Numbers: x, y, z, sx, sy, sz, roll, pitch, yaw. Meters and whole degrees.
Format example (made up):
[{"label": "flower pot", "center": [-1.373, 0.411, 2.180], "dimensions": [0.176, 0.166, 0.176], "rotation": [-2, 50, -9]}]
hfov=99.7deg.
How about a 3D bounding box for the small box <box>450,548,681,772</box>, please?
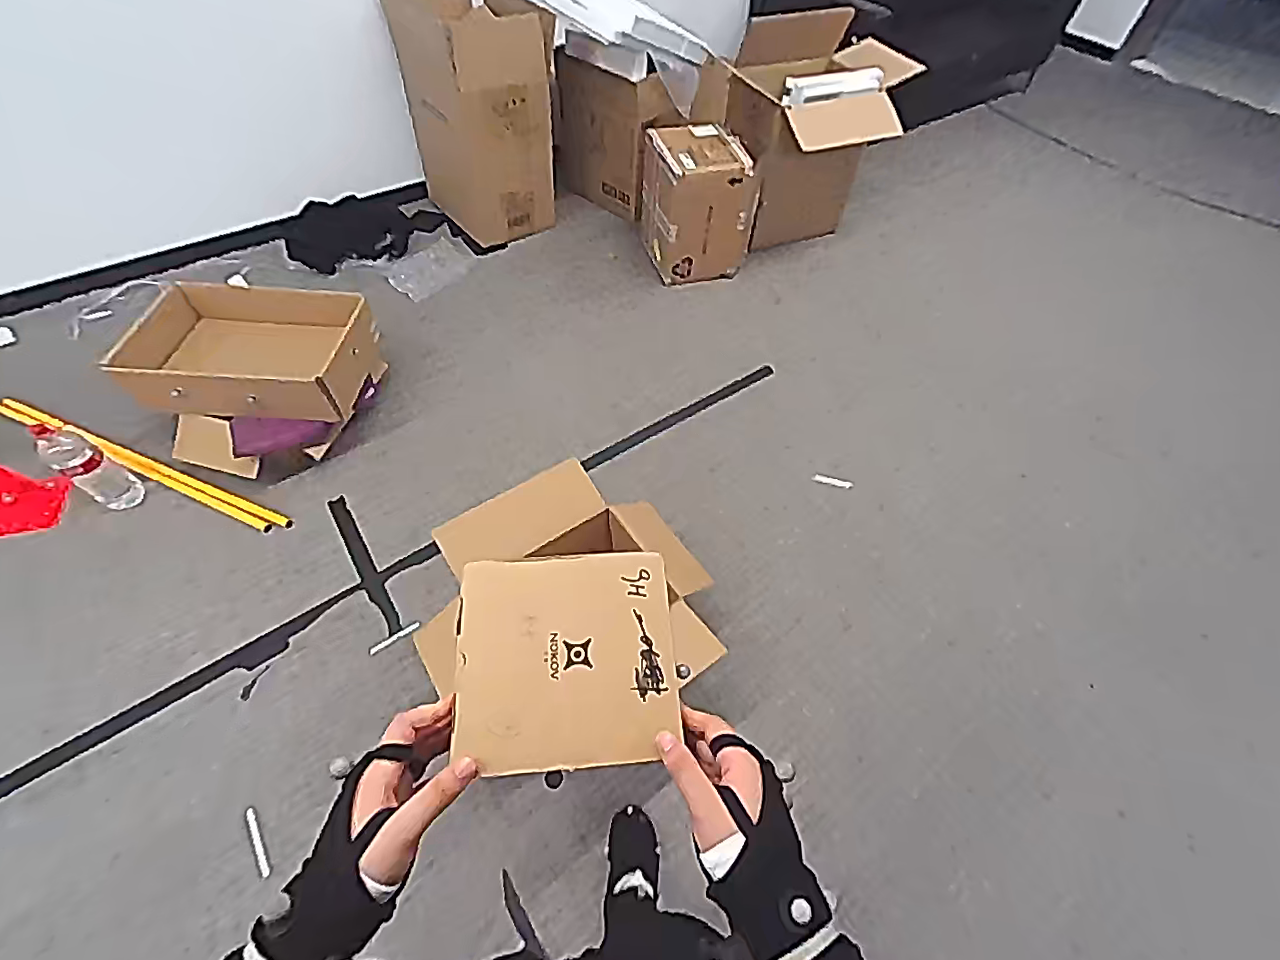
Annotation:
[{"label": "small box", "center": [-0.064, 0.175, 0.509], "dimensions": [0.179, 0.176, 0.168], "rotation": [-3, 62, -5]}]
